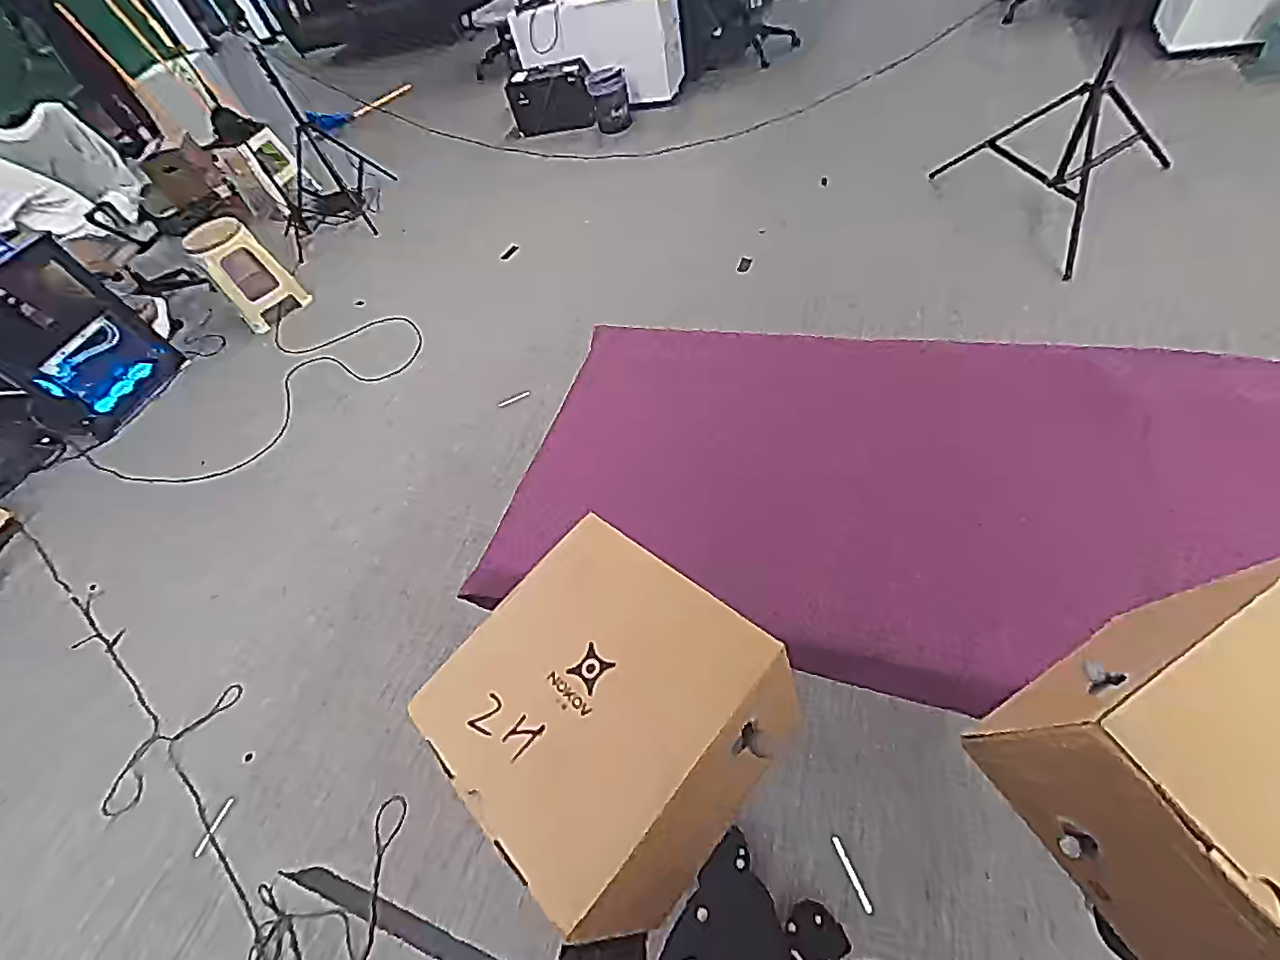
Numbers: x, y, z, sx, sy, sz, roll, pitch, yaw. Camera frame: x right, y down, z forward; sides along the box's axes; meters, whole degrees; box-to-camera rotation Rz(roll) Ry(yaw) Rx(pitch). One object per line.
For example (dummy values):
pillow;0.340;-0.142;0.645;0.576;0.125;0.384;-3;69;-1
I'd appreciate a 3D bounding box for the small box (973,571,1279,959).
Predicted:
small box;0.348;0.176;0.318;0.179;0.176;0.168;-31;63;-8

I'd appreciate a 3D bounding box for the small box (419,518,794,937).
small box;-0.007;0.166;0.382;0.168;0.176;0.179;31;69;36
